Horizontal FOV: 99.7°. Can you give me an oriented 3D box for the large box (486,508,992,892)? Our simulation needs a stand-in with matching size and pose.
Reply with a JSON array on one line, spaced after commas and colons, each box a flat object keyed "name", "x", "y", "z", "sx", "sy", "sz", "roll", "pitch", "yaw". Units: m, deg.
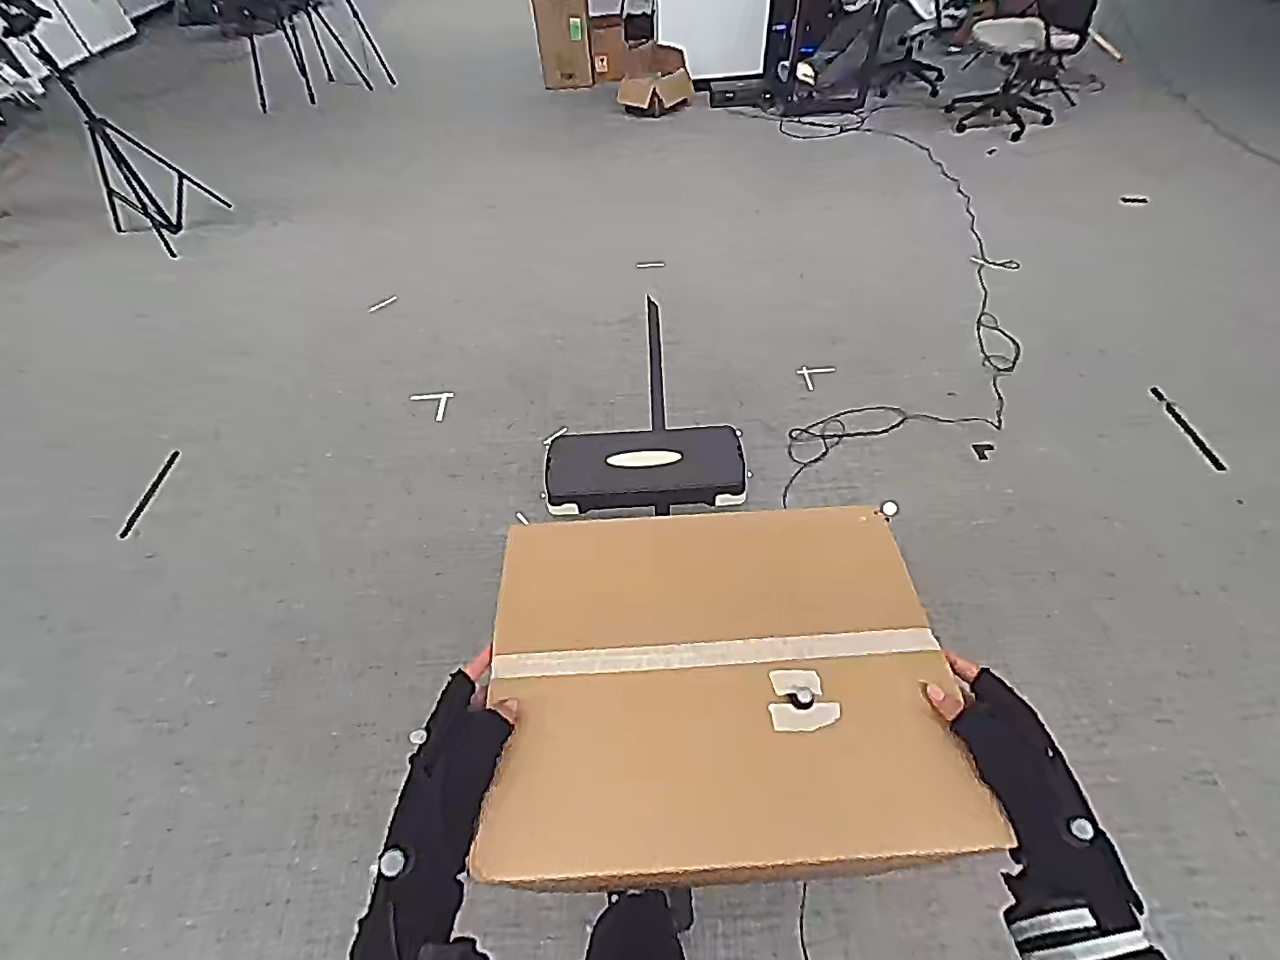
[{"name": "large box", "x": 0.070, "y": 0.257, "z": 0.621, "sx": 0.408, "sy": 0.320, "sz": 0.320, "roll": -3, "pitch": 51, "yaw": -1}]
